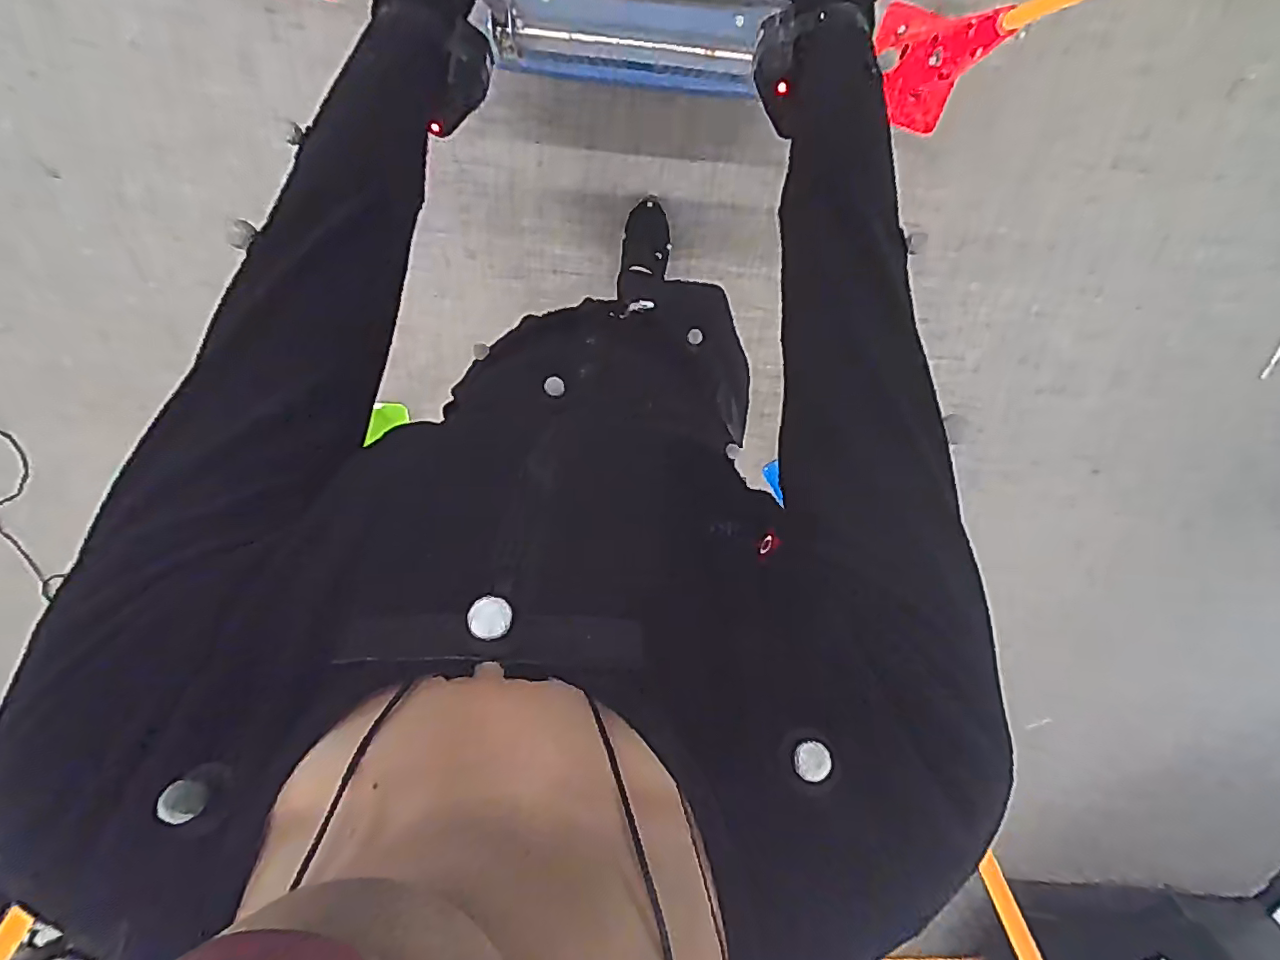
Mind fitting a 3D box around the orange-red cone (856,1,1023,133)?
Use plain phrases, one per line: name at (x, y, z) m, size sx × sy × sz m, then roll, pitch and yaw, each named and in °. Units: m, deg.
orange-red cone at (0.581, -0.794, 0.996) m, size 0.198 × 0.360 × 0.199 m, roll 15°, pitch 116°, yaw -6°
